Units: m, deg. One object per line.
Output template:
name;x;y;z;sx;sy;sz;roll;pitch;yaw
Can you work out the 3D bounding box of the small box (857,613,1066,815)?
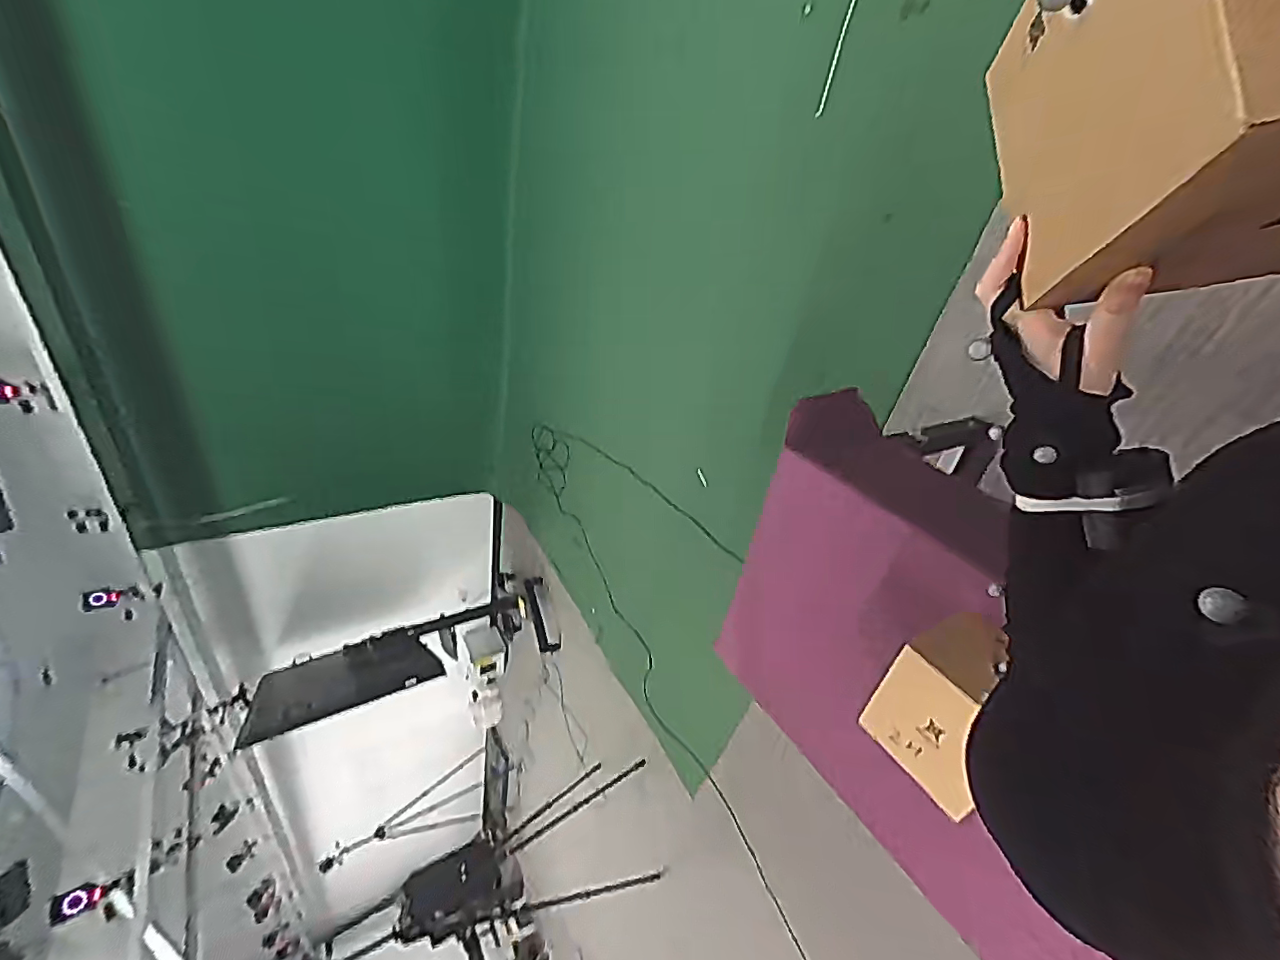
small box;0.452;0.317;0.763;0.168;0.176;0.179;46;136;42
